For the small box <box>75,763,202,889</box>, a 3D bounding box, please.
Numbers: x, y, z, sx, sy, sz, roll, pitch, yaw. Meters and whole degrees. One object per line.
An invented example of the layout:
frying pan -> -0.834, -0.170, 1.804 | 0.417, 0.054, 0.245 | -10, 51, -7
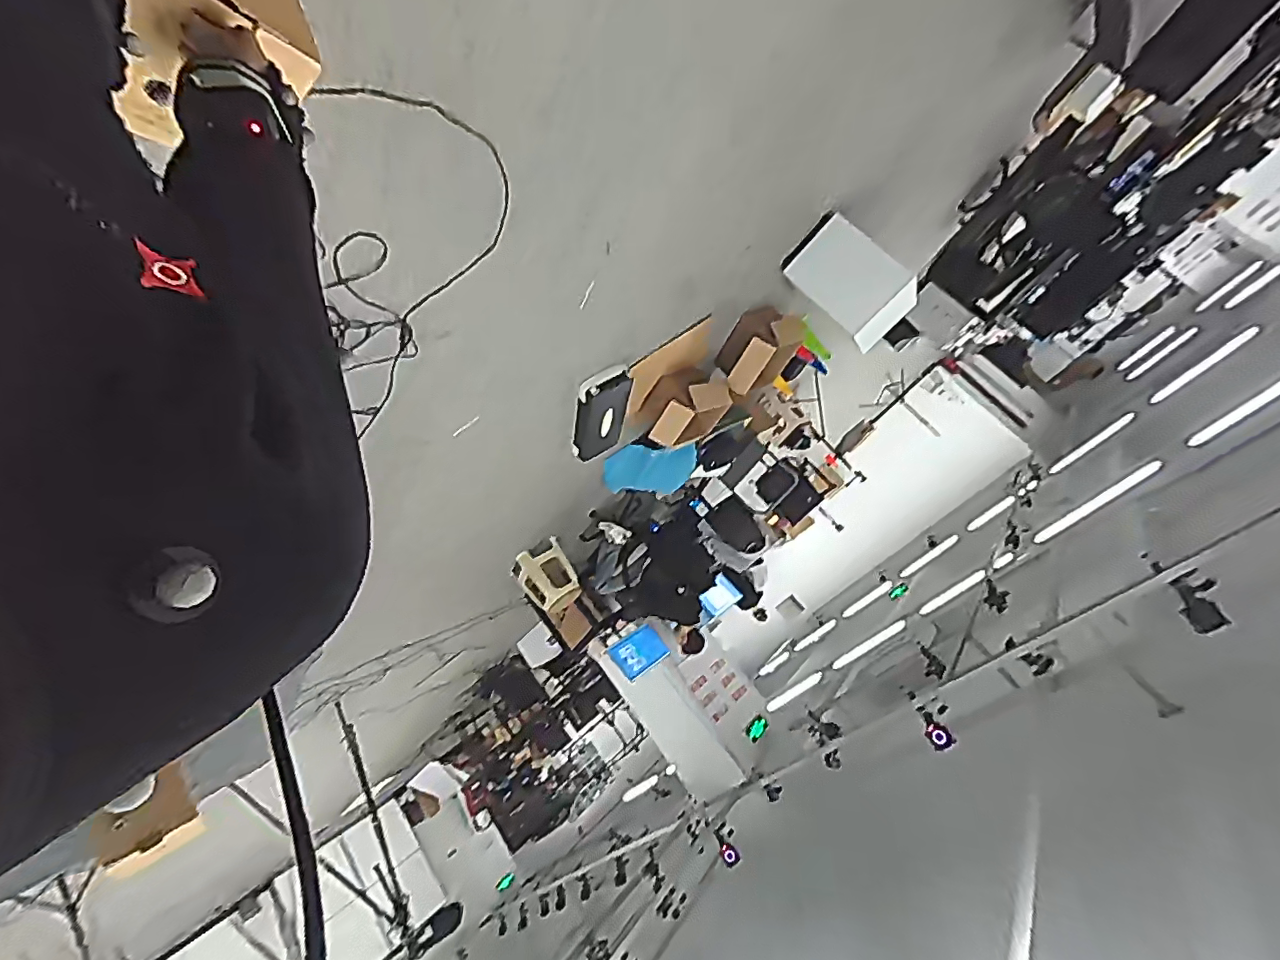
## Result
small box -> -1.138, 0.781, 1.233 | 0.168, 0.176, 0.179 | -22, 157, -43

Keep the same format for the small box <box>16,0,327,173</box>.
small box -> -0.441, -0.443, 0.506 | 0.176, 0.179, 0.168 | -31, 167, 24
